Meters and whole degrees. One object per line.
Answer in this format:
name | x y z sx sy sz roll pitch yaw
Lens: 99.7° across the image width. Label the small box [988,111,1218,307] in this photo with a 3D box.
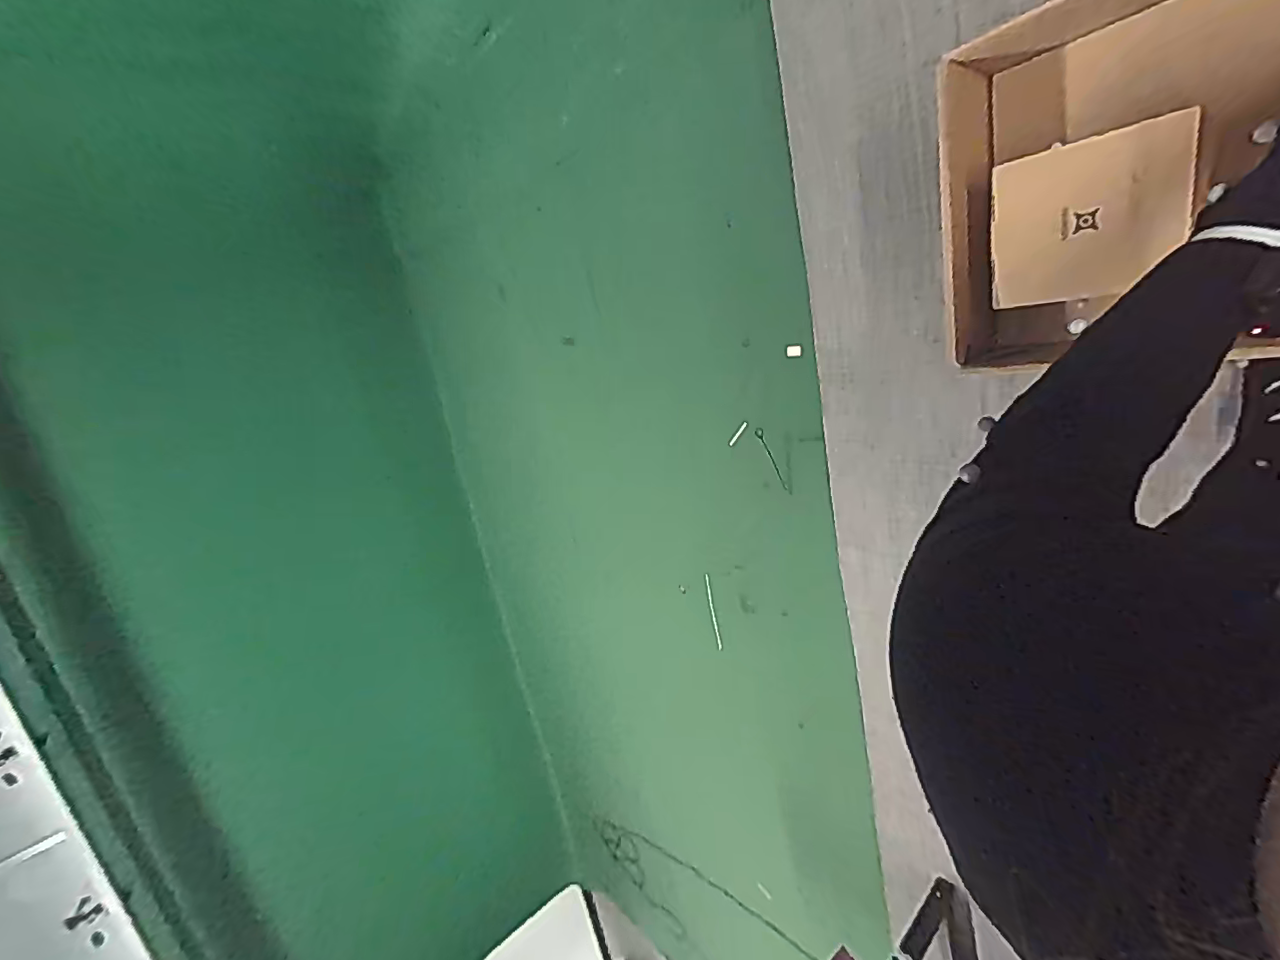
small box | 0.546 -0.309 0.646 0.179 0.176 0.168 9 115 49
